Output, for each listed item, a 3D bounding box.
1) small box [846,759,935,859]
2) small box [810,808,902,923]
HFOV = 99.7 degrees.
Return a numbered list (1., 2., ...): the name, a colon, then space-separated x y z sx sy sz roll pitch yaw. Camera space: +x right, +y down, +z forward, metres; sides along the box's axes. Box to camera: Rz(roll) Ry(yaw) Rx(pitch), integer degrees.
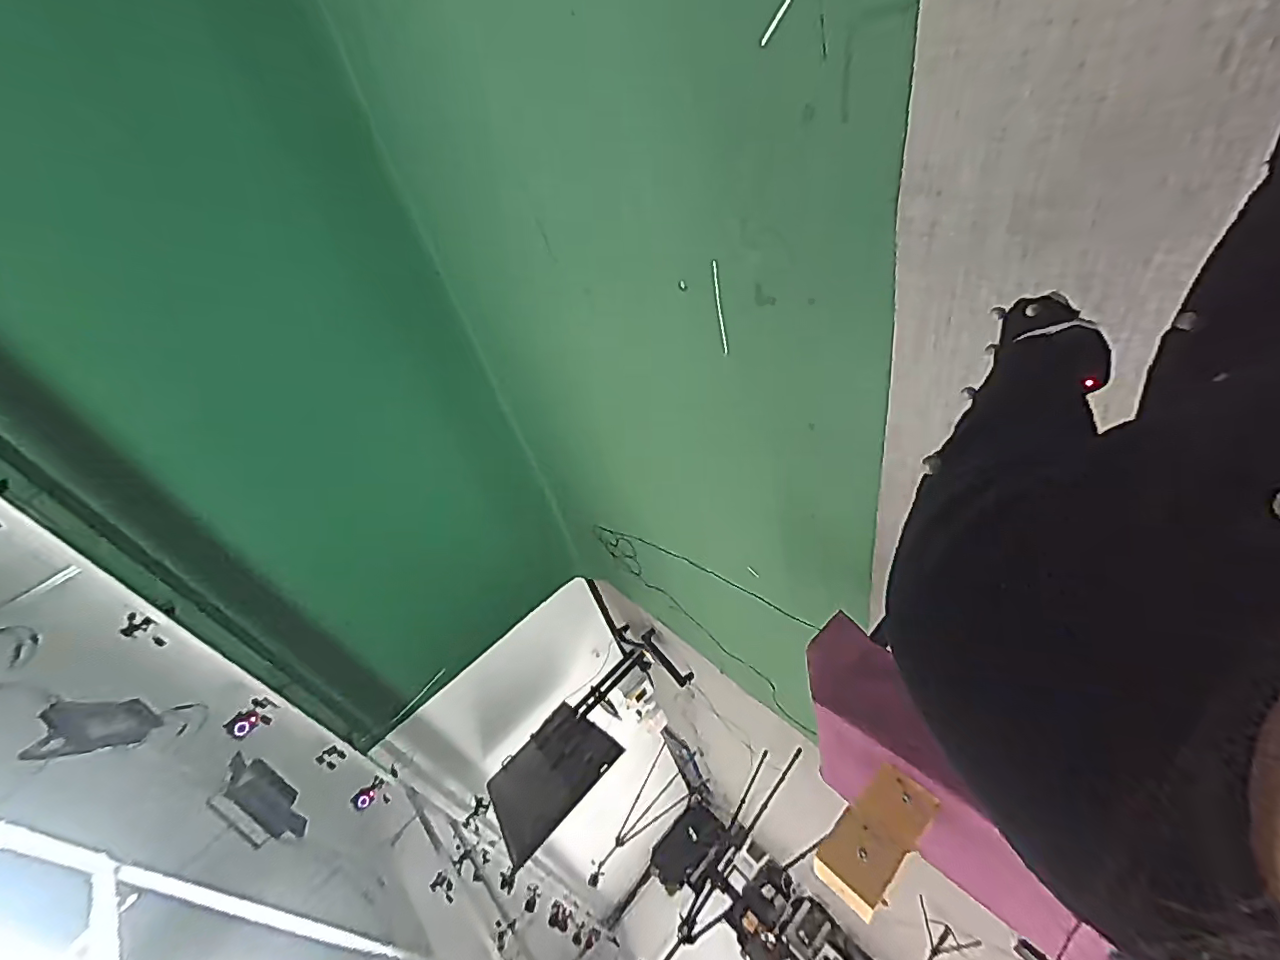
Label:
1. small box: 0.691 0.923 1.503 0.168 0.176 0.179 30 148 38
2. small box: 0.572 1.016 1.436 0.168 0.176 0.179 30 148 40
